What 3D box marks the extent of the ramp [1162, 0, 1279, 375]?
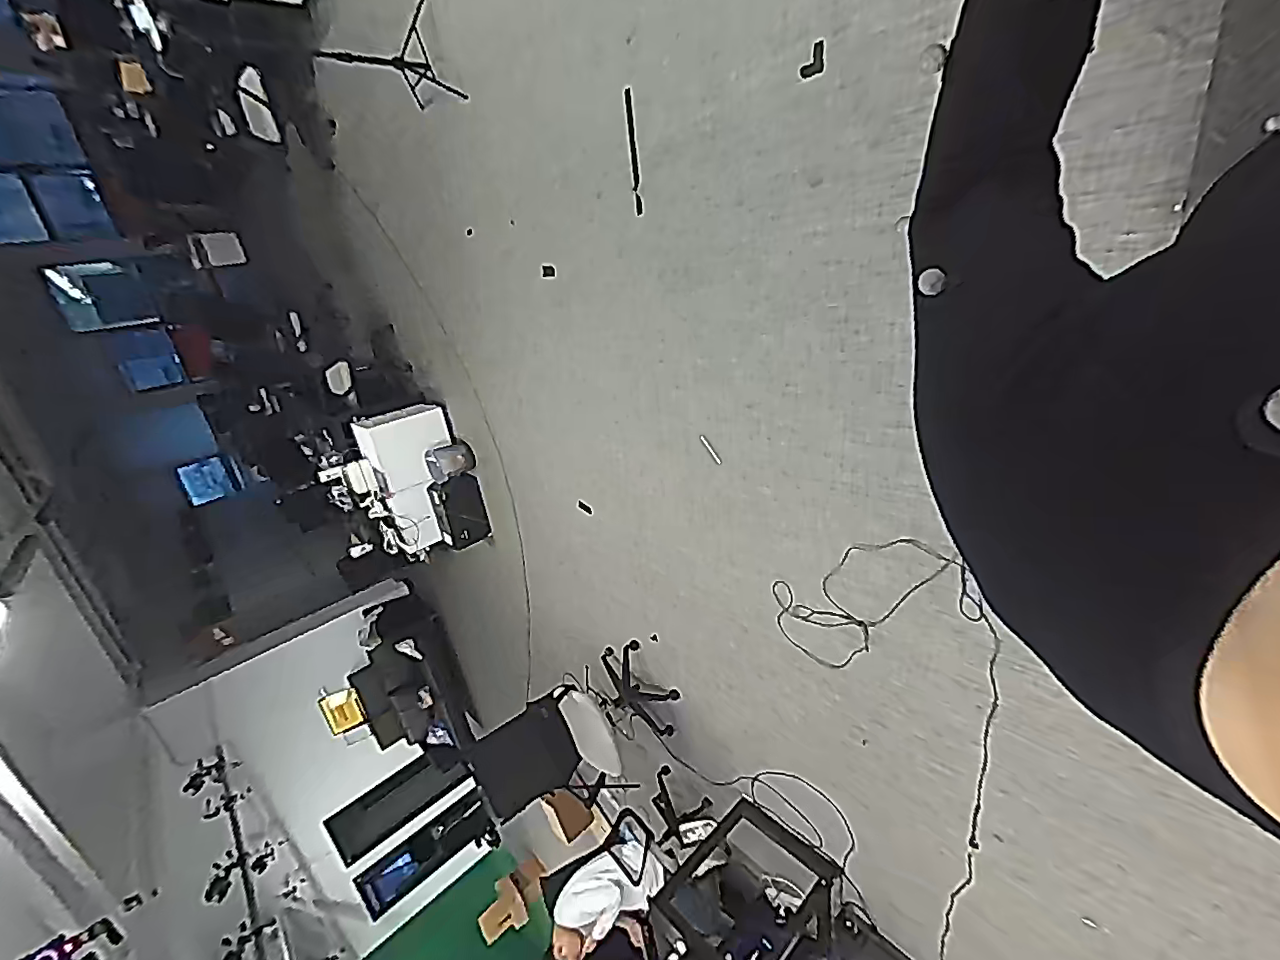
[{"bbox_3d":[1.136,-0.607,0.744,0.509,0.206,0.991,13,121,46],"label":"ramp"}]
